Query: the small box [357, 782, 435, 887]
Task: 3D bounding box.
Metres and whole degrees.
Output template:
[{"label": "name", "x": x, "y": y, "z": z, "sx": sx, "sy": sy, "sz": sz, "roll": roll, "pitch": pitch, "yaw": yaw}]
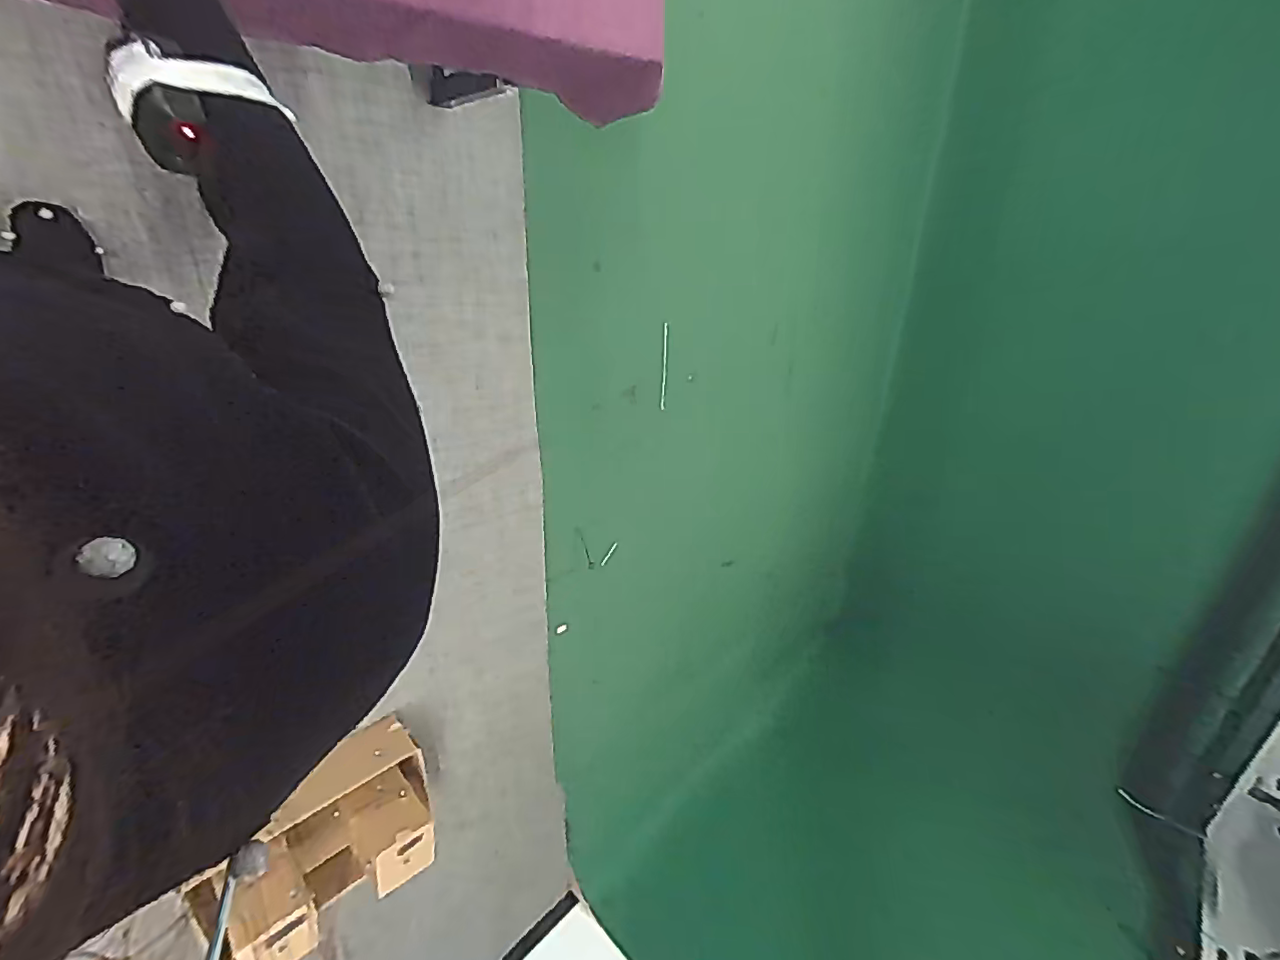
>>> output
[{"label": "small box", "x": -0.735, "y": 1.048, "z": 1.624, "sx": 0.168, "sy": 0.176, "sz": 0.179, "roll": -14, "pitch": 119, "yaw": -43}]
